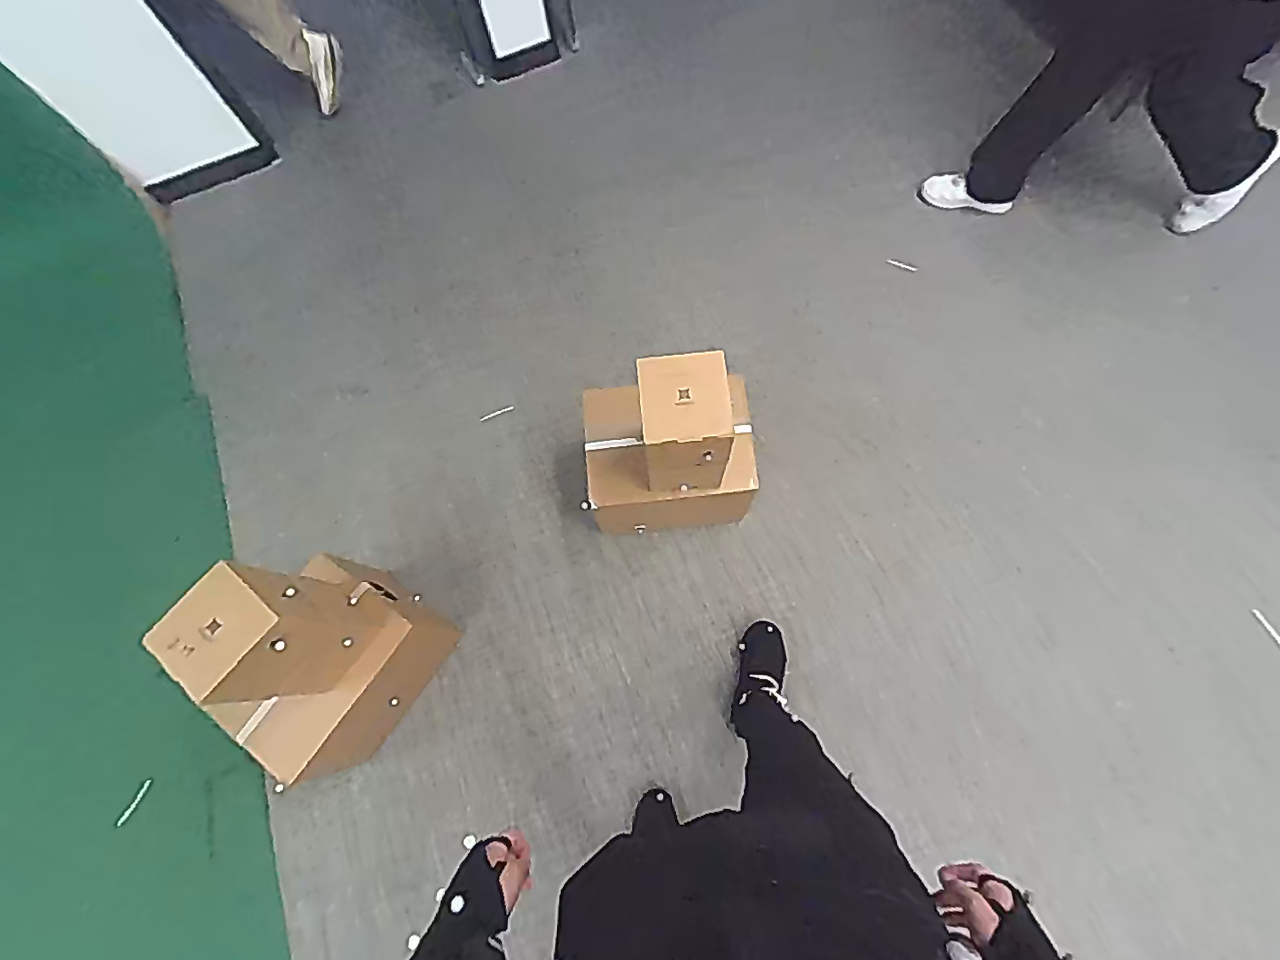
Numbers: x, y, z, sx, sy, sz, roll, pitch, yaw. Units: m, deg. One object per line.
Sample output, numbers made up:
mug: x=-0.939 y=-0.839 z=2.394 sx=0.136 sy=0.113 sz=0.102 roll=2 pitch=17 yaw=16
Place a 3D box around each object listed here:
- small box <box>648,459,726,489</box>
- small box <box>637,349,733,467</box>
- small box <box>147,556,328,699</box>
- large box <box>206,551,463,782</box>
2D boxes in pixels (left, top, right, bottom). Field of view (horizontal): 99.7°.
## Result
small box: x=0.099 y=-0.088 z=1.213 sx=0.168 sy=0.176 sz=0.179 roll=-3 pitch=73 yaw=3
small box: x=0.086 y=-0.131 z=1.056 sx=0.168 sy=0.176 sz=0.179 roll=-5 pitch=72 yaw=2
small box: x=-0.705 y=0.266 z=0.977 sx=0.168 sy=0.176 sz=0.179 roll=37 pitch=78 yaw=15
large box: x=-0.728 y=0.444 z=1.354 sx=0.320 sy=0.320 sz=0.408 roll=32 pitch=78 yaw=15
